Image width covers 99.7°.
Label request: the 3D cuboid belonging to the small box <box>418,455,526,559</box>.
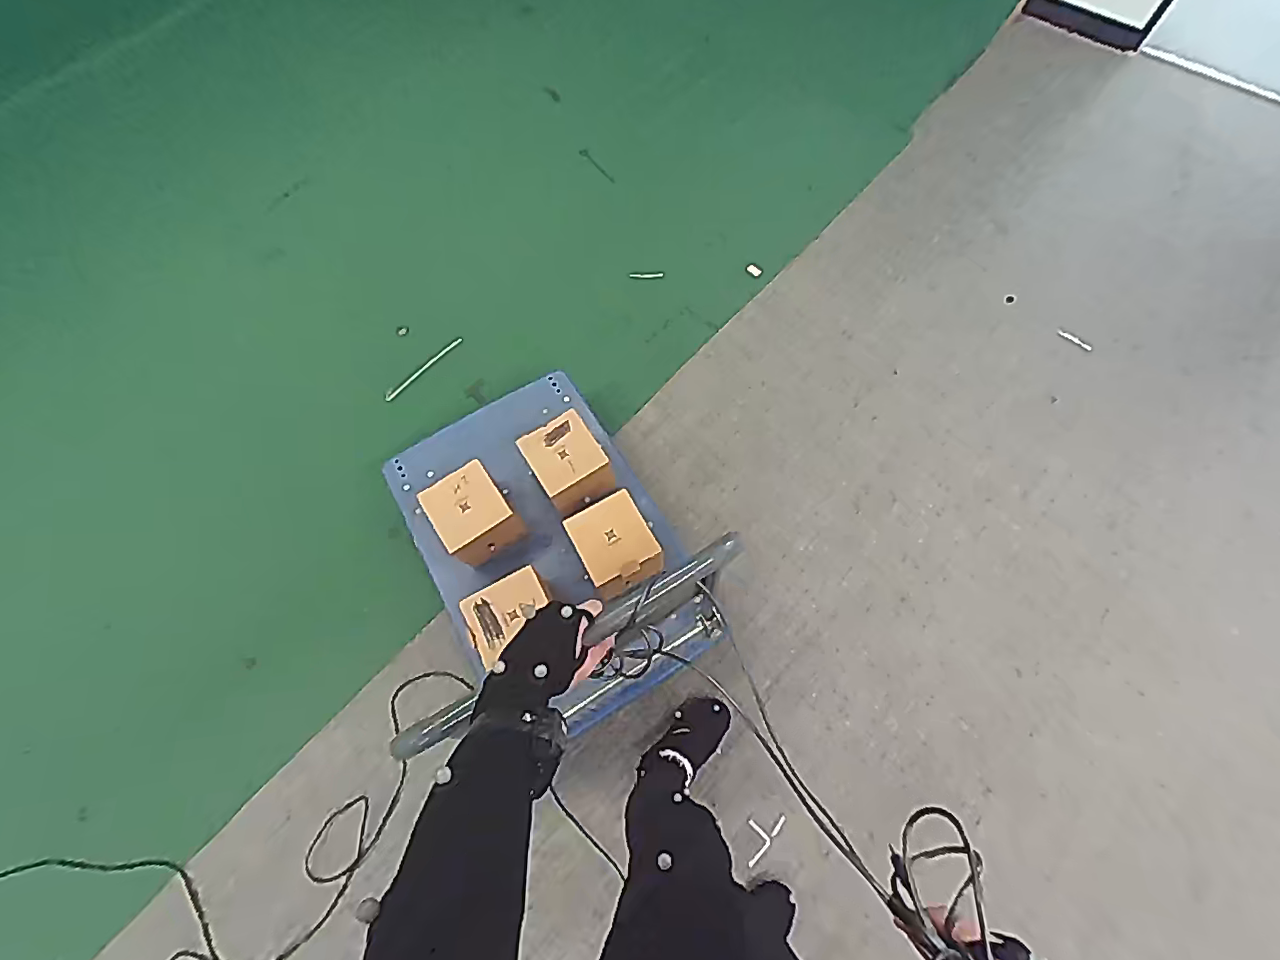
[{"bbox_3d":[-0.400,0.075,1.319,0.168,0.176,0.179,-33,71,-10],"label":"small box"}]

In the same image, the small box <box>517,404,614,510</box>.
[{"bbox_3d":[-0.181,-0.052,1.355,0.168,0.176,0.179,-32,72,-8],"label":"small box"}]

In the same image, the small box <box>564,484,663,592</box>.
[{"bbox_3d":[-0.059,0.142,1.277,0.168,0.176,0.179,-29,71,-8],"label":"small box"}]
